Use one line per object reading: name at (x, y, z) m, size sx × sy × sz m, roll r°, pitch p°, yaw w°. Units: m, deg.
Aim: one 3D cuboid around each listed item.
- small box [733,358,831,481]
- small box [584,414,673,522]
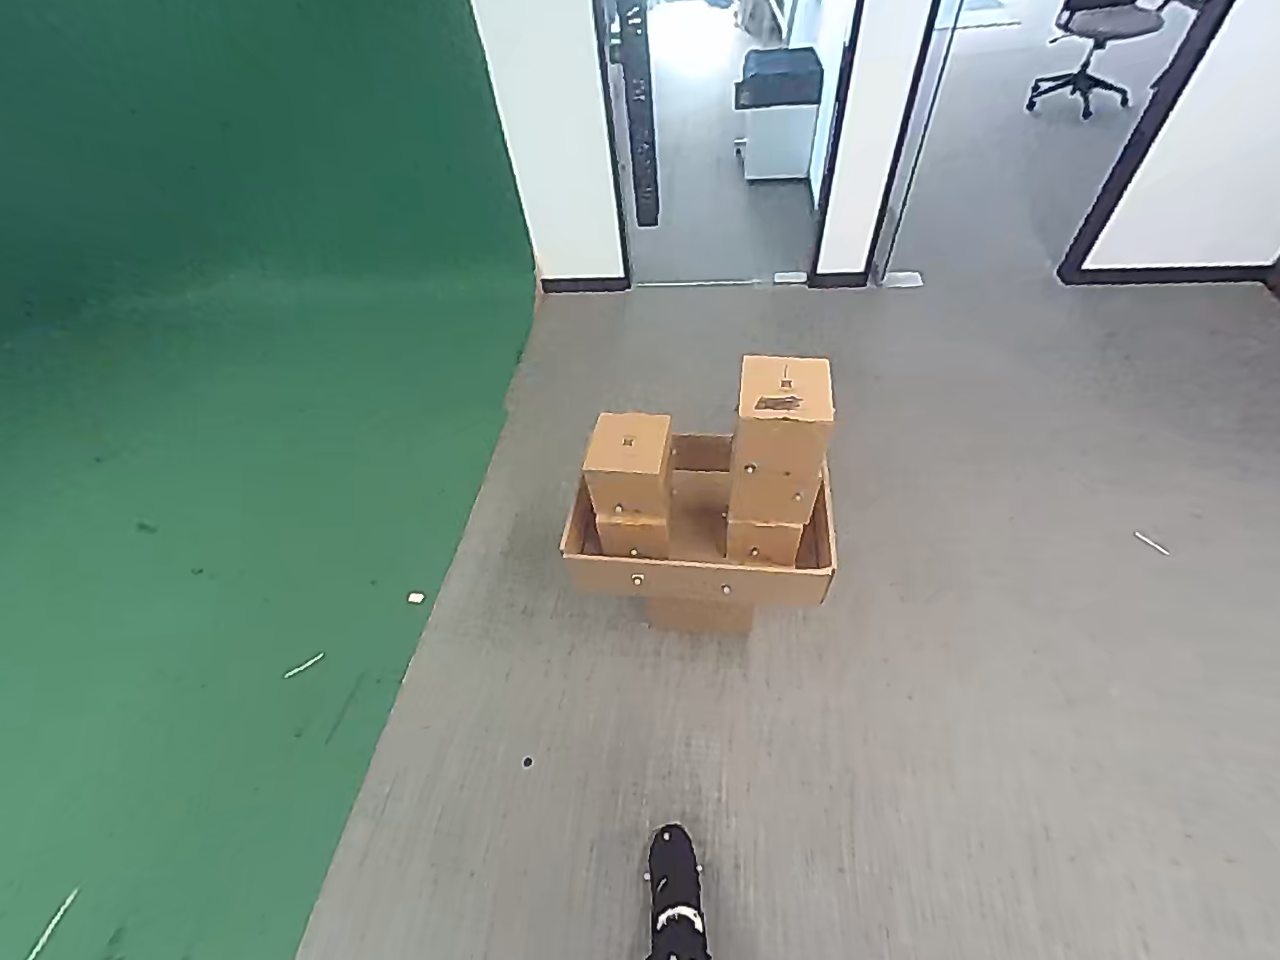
small box at (0.274, -0.116, 1.063) m, size 0.168 × 0.176 × 0.179 m, roll 5°, pitch 51°, yaw 9°
small box at (-0.017, -0.028, 1.236) m, size 0.168 × 0.176 × 0.179 m, roll 4°, pitch 51°, yaw 11°
